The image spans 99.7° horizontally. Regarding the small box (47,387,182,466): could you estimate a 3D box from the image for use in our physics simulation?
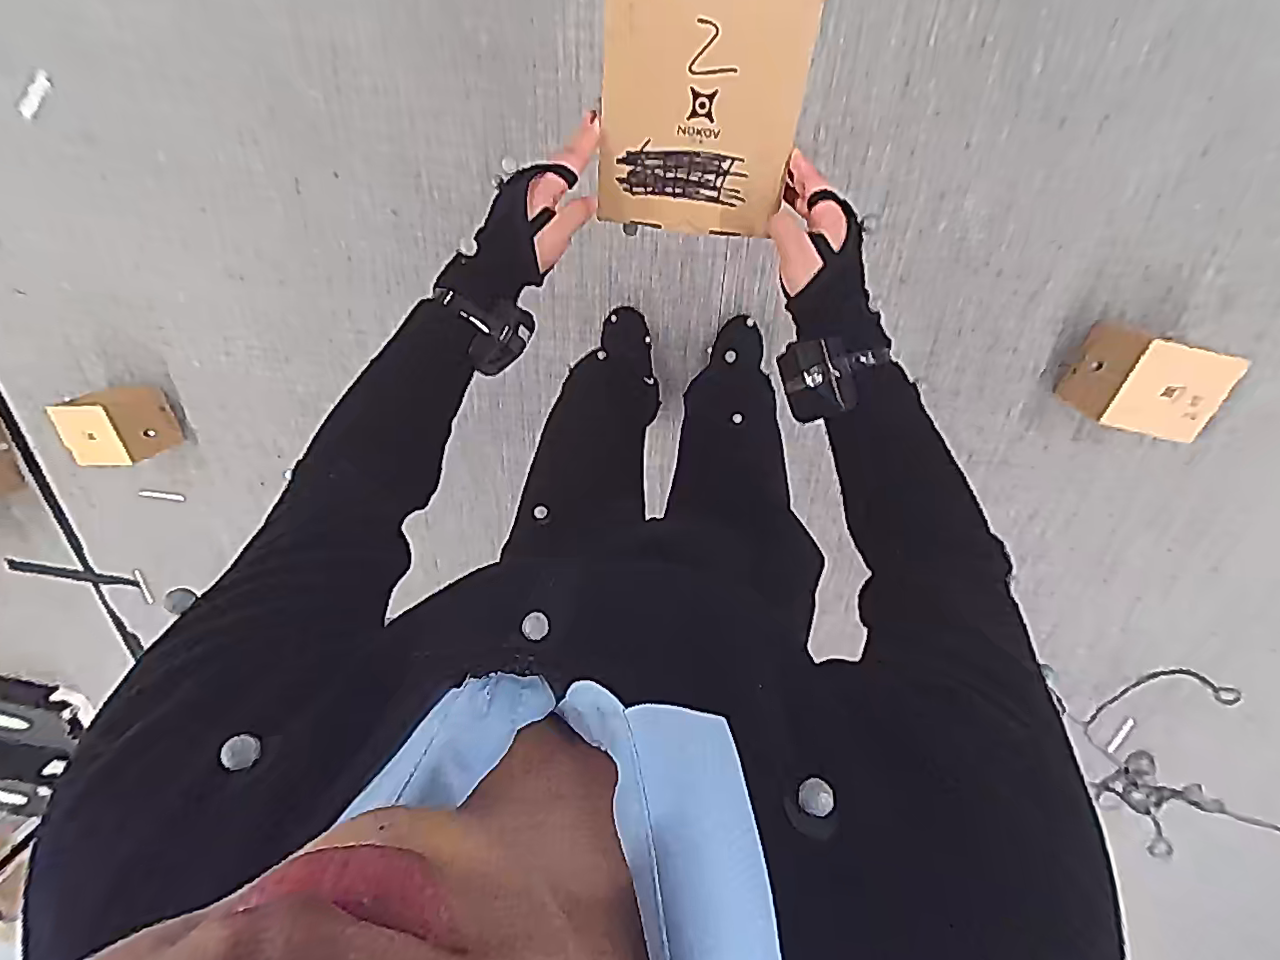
[{"bbox_3d":[-1.388,-0.146,1.450,0.179,0.176,0.168,0,117,9],"label":"small box"}]

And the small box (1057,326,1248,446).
[{"bbox_3d":[0.974,-0.190,1.054,0.179,0.176,0.168,14,119,1],"label":"small box"}]
